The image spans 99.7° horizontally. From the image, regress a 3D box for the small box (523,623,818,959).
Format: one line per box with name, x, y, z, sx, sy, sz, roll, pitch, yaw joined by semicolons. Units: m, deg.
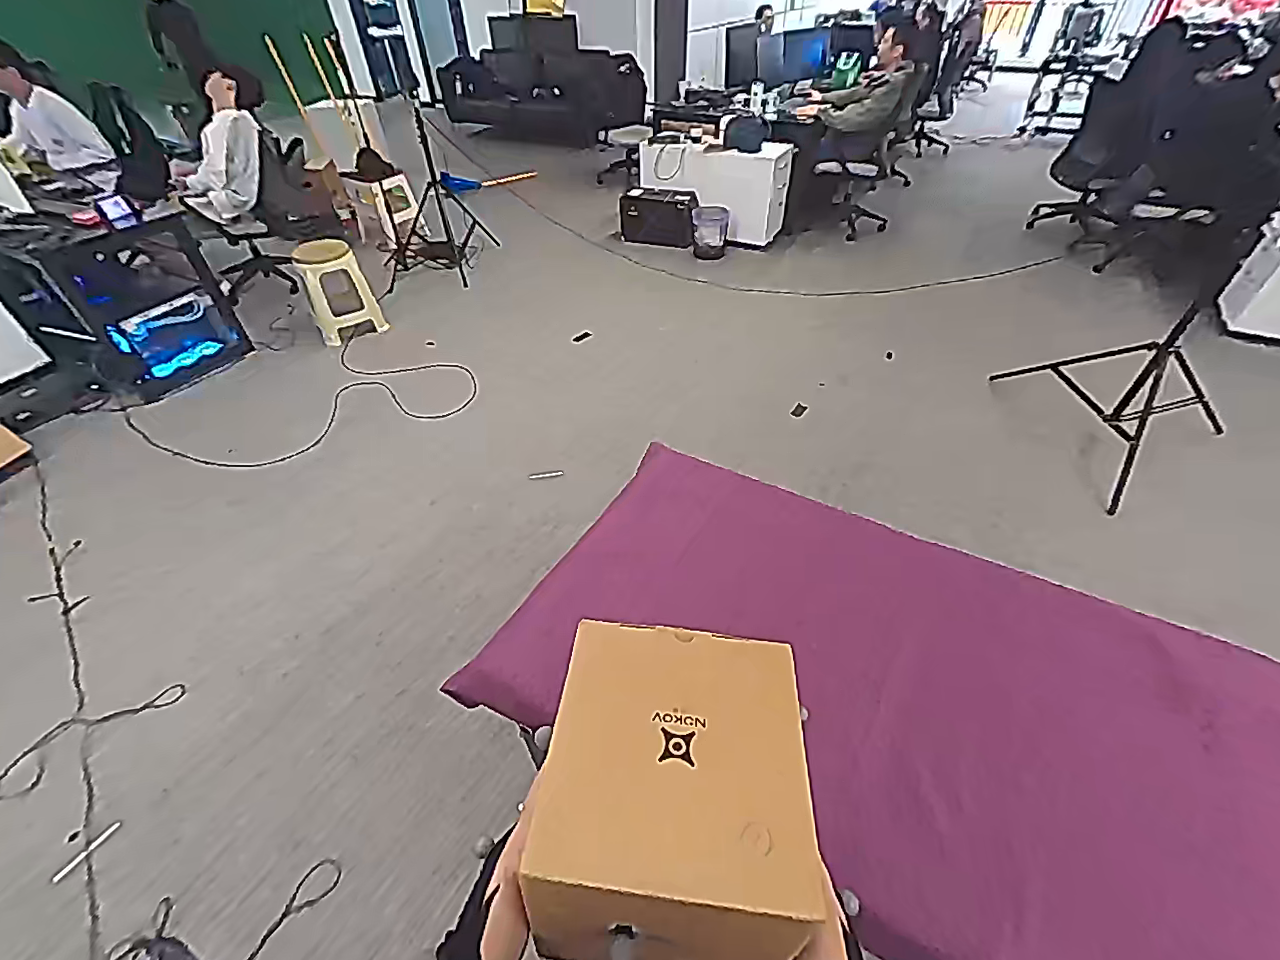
small box;0.022;0.237;0.406;0.168;0.176;0.179;6;36;3
